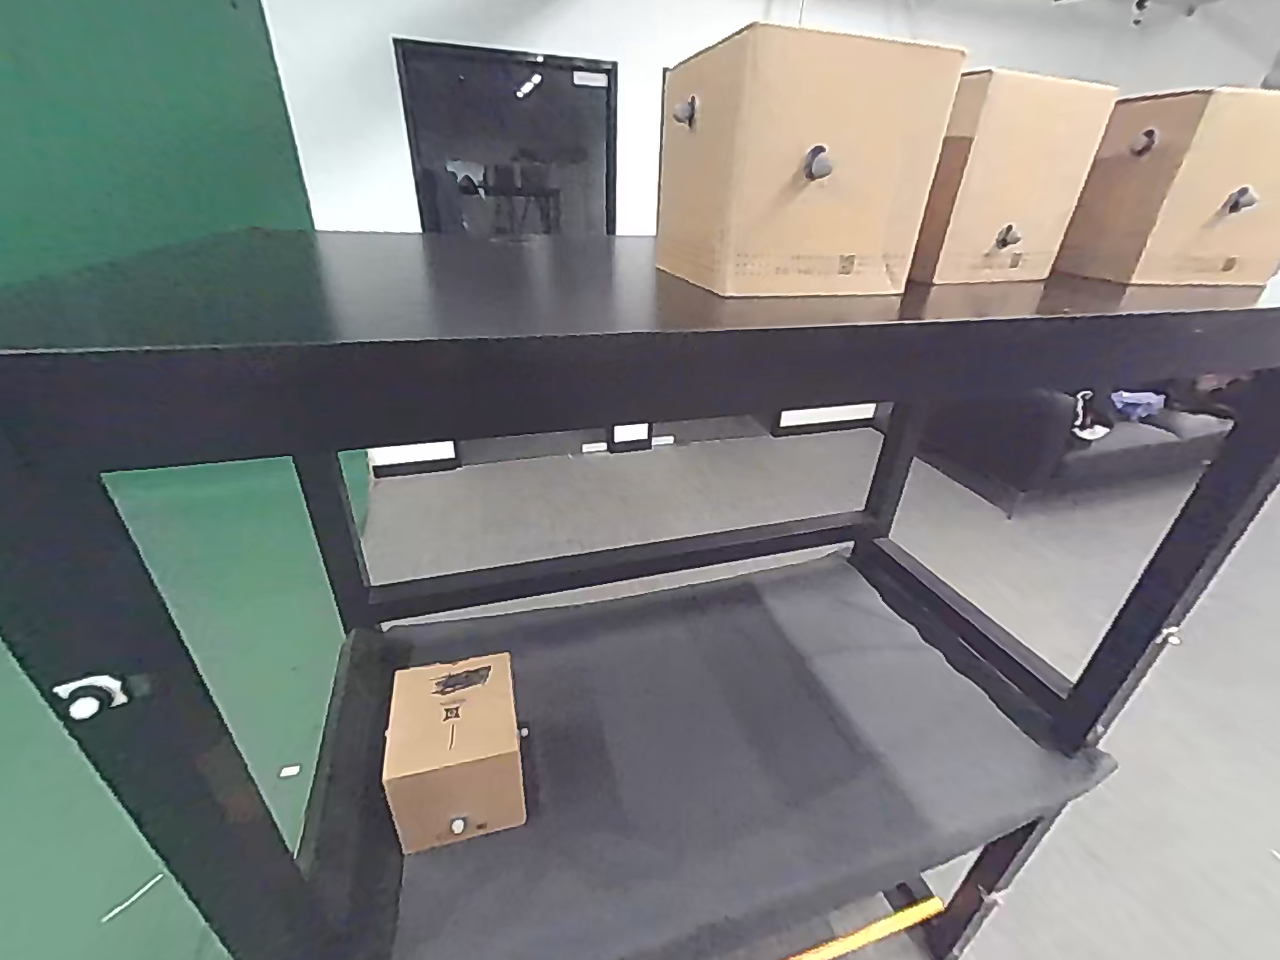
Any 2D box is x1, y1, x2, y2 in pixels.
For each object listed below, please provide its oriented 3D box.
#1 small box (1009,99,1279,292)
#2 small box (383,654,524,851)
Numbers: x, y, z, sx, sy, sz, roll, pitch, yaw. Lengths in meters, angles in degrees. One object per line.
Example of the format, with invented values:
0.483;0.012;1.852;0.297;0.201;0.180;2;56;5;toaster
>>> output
0.567;-0.309;0.603;0.168;0.176;0.179;-1;29;-7;small box
-0.263;0.388;0.787;0.168;0.176;0.179;-6;30;-15;small box
